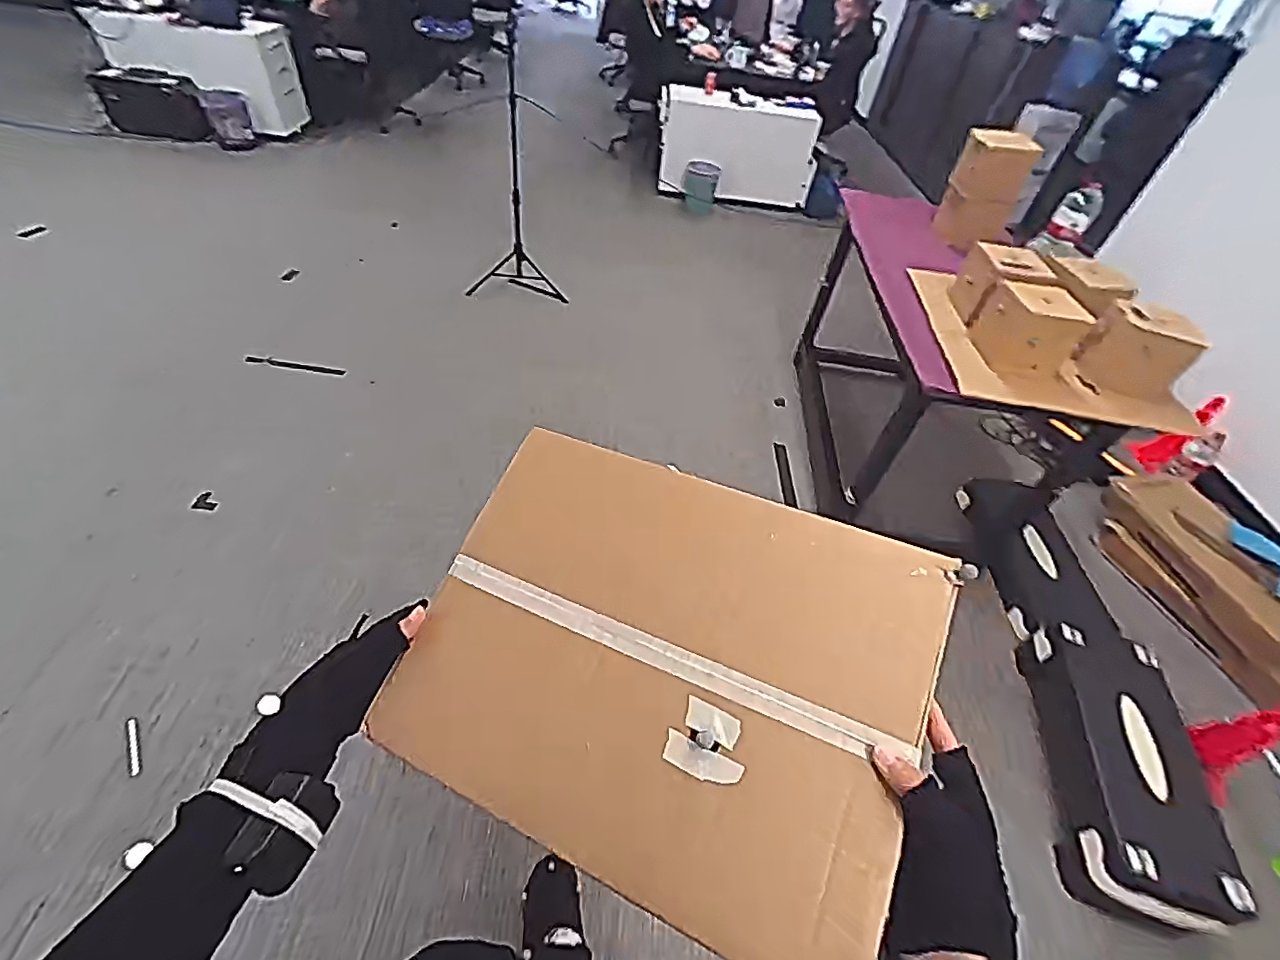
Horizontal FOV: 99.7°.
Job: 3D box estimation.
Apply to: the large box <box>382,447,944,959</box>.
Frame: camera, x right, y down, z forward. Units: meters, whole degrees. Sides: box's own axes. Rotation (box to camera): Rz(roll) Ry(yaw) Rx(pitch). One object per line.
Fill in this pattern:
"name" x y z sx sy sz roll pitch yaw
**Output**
"large box" 0.038 0.213 0.585 0.408 0.320 0.320 18 68 19
